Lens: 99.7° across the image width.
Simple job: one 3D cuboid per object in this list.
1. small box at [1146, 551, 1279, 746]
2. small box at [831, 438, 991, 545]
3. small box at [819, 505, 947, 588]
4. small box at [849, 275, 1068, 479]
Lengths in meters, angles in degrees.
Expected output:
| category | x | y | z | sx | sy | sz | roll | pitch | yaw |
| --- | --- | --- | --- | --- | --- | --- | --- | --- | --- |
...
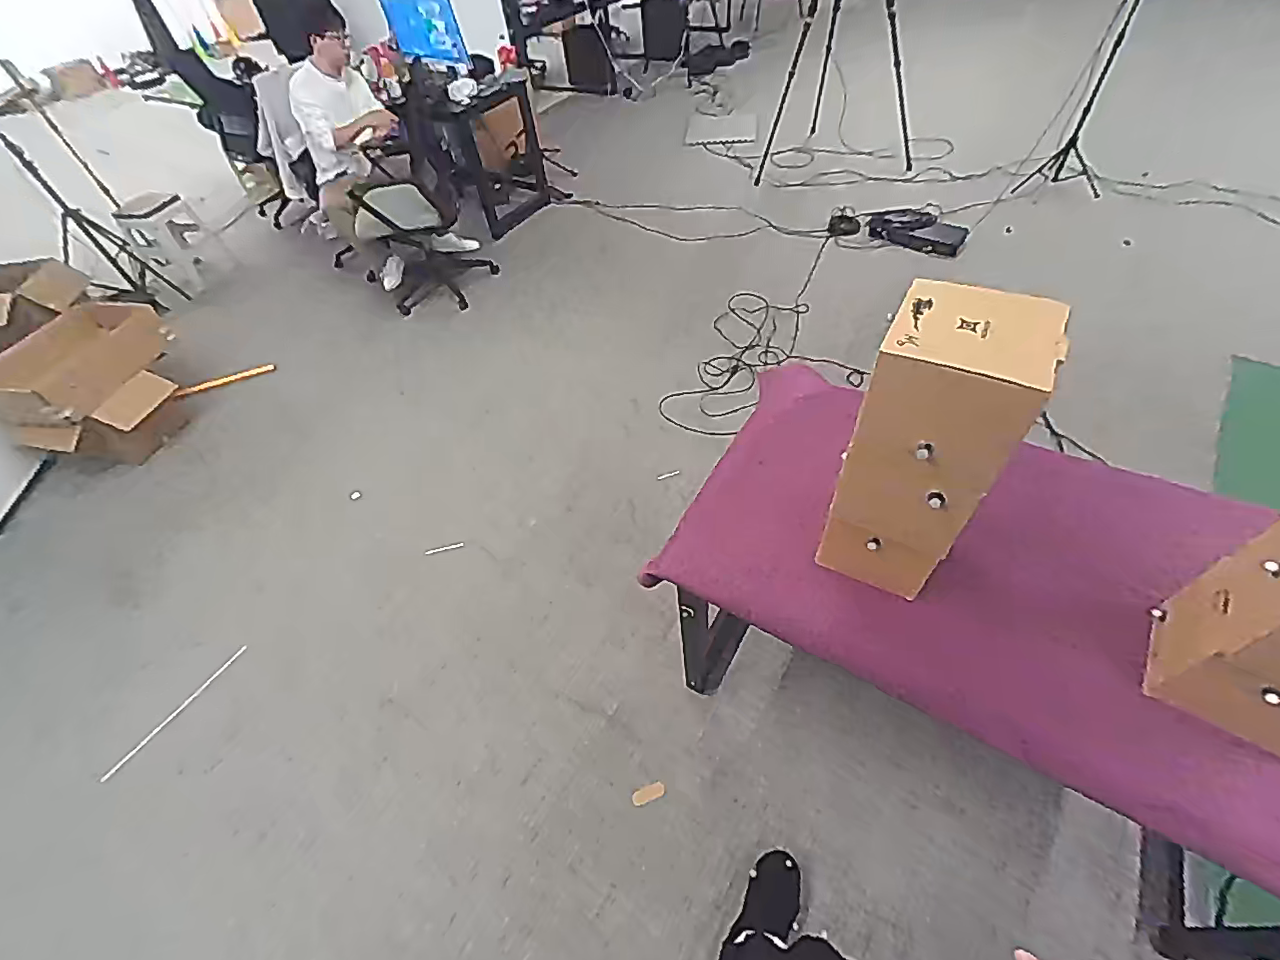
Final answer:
| category | x | y | z | sx | sy | sz | roll | pitch | yaw |
| --- | --- | --- | --- | --- | --- | --- | --- | --- | --- |
| small box | 0.855 | 0.236 | 0.745 | 0.179 | 0.176 | 0.168 | 26 | 59 | 25 |
| small box | 0.408 | -0.026 | 0.812 | 0.179 | 0.176 | 0.168 | 23 | 58 | 24 |
| small box | 0.433 | 0.065 | 0.948 | 0.179 | 0.176 | 0.168 | 21 | 57 | 24 |
| small box | 0.389 | -0.125 | 0.683 | 0.179 | 0.176 | 0.168 | 23 | 58 | 23 |
